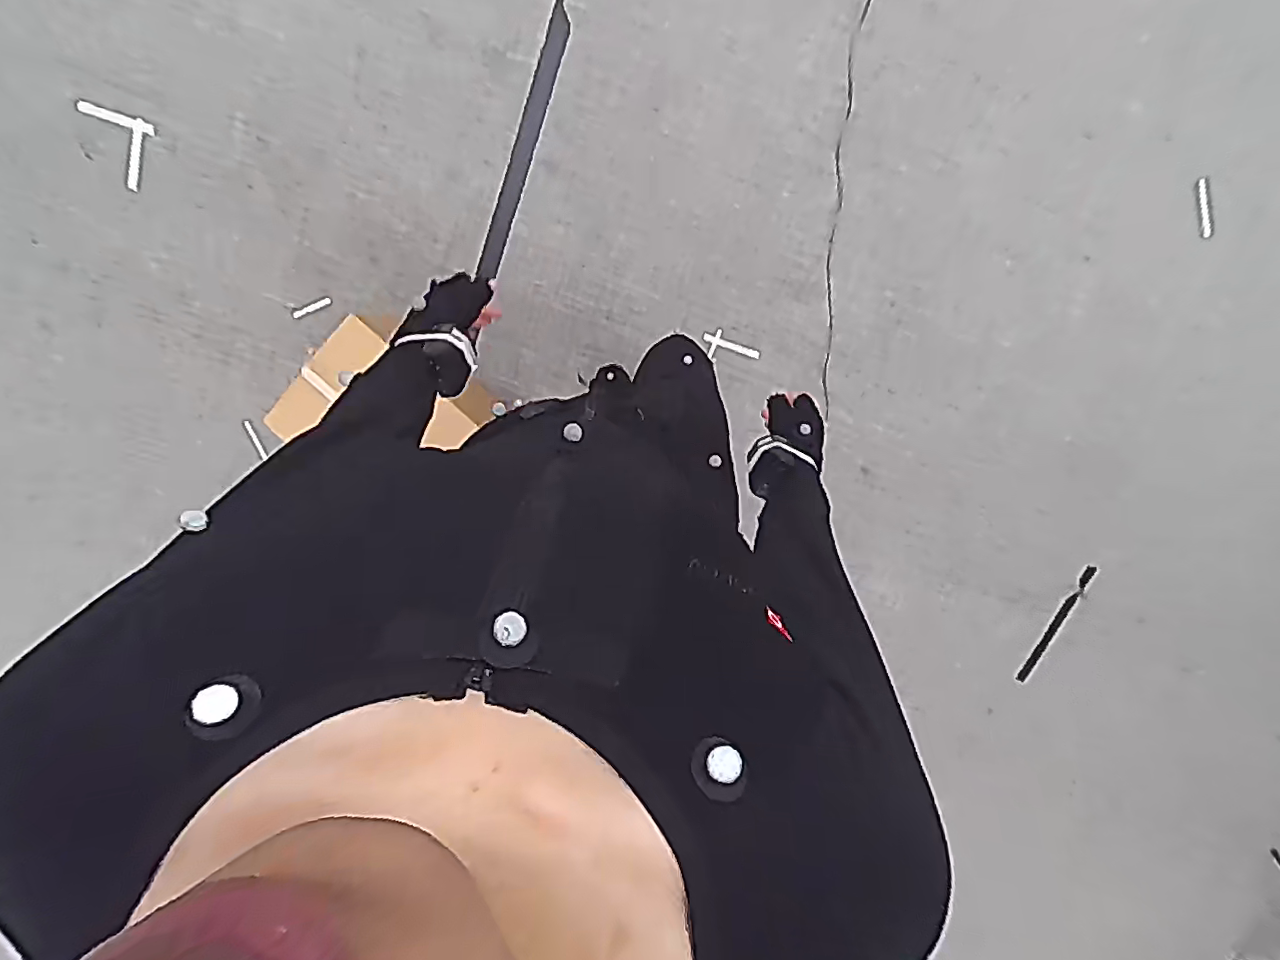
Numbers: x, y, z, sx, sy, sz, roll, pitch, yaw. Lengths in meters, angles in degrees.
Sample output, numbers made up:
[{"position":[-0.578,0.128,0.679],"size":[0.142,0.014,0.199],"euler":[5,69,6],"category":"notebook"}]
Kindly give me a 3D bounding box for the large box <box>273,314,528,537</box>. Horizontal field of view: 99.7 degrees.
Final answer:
[{"position":[-0.539,-0.140,1.303],"size":[0.408,0.320,0.320],"euler":[43,100,-10],"category":"large box"}]
